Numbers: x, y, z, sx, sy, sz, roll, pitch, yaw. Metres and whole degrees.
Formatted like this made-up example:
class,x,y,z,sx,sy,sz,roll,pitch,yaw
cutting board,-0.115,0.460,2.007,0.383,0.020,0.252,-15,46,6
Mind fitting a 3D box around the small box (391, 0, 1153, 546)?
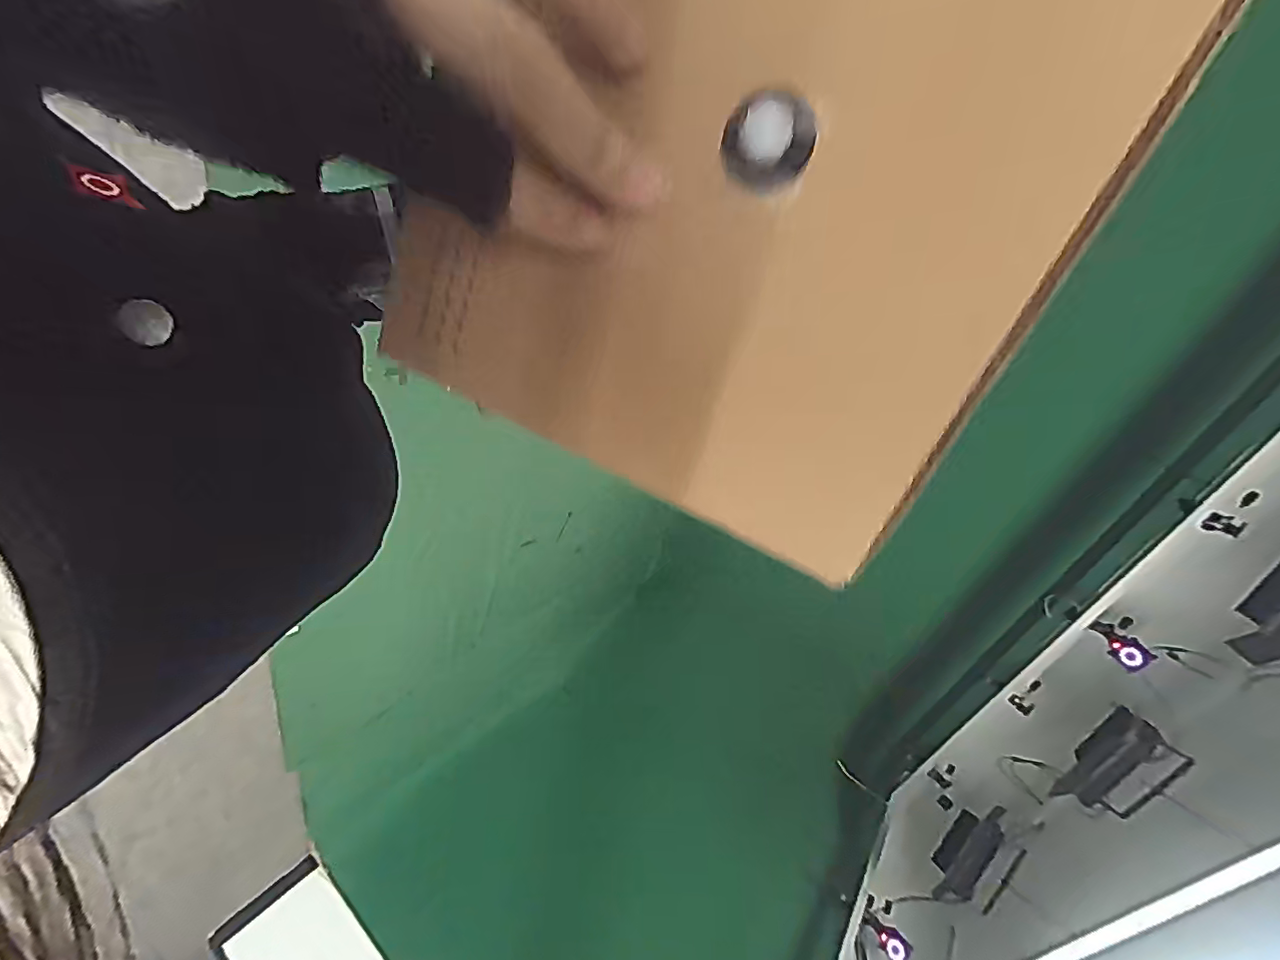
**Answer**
class,x,y,z,sx,sy,sz,roll,pitch,yaw
small box,0.032,-0.108,0.217,0.179,0.176,0.168,-68,173,22
